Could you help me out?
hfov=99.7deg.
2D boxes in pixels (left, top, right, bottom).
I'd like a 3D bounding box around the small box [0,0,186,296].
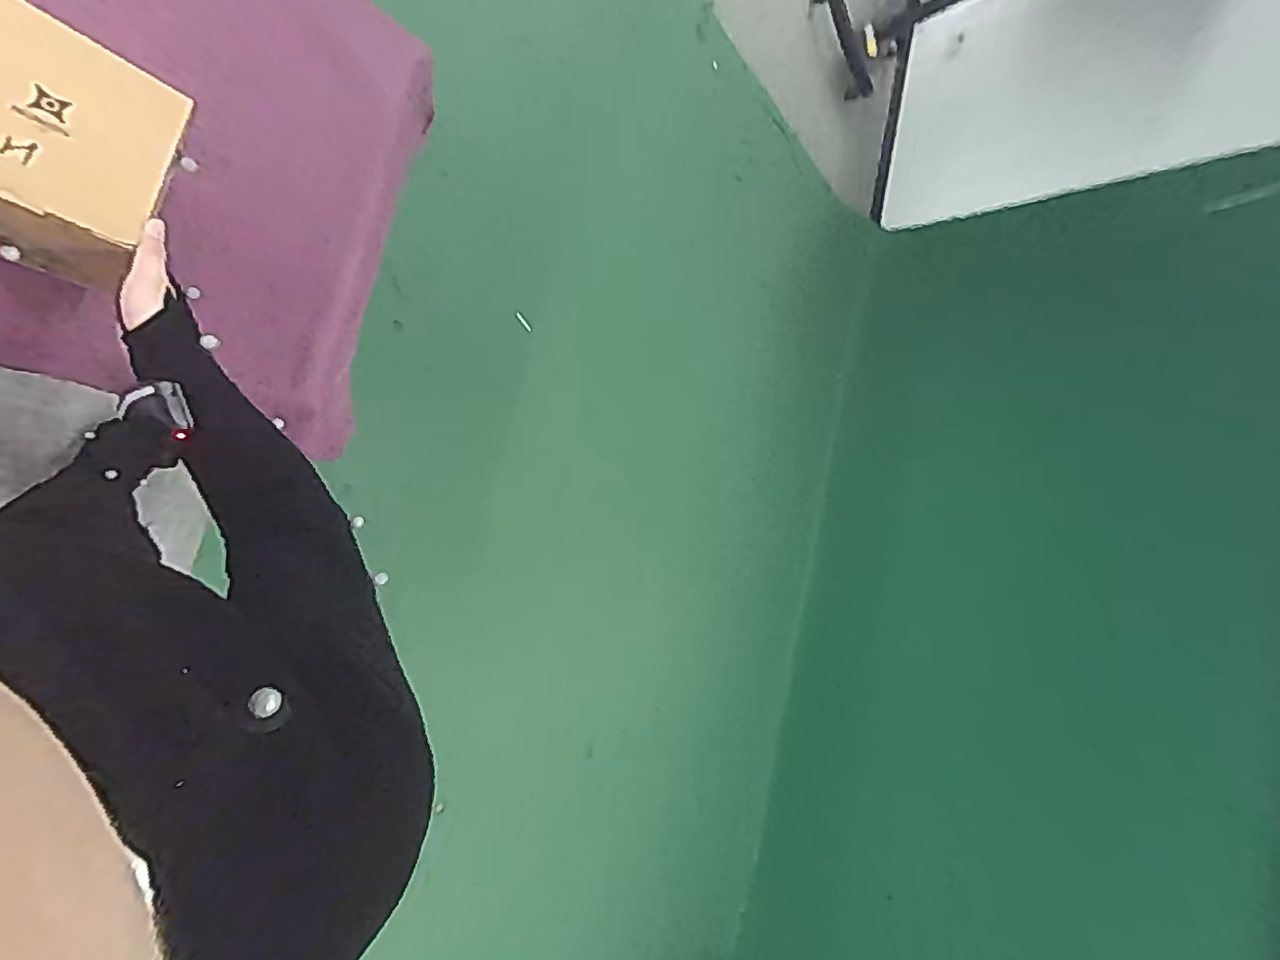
[{"bbox_3d":[-0.579,-0.310,0.521,0.168,0.176,0.179,21,73,-44],"label":"small box"}]
